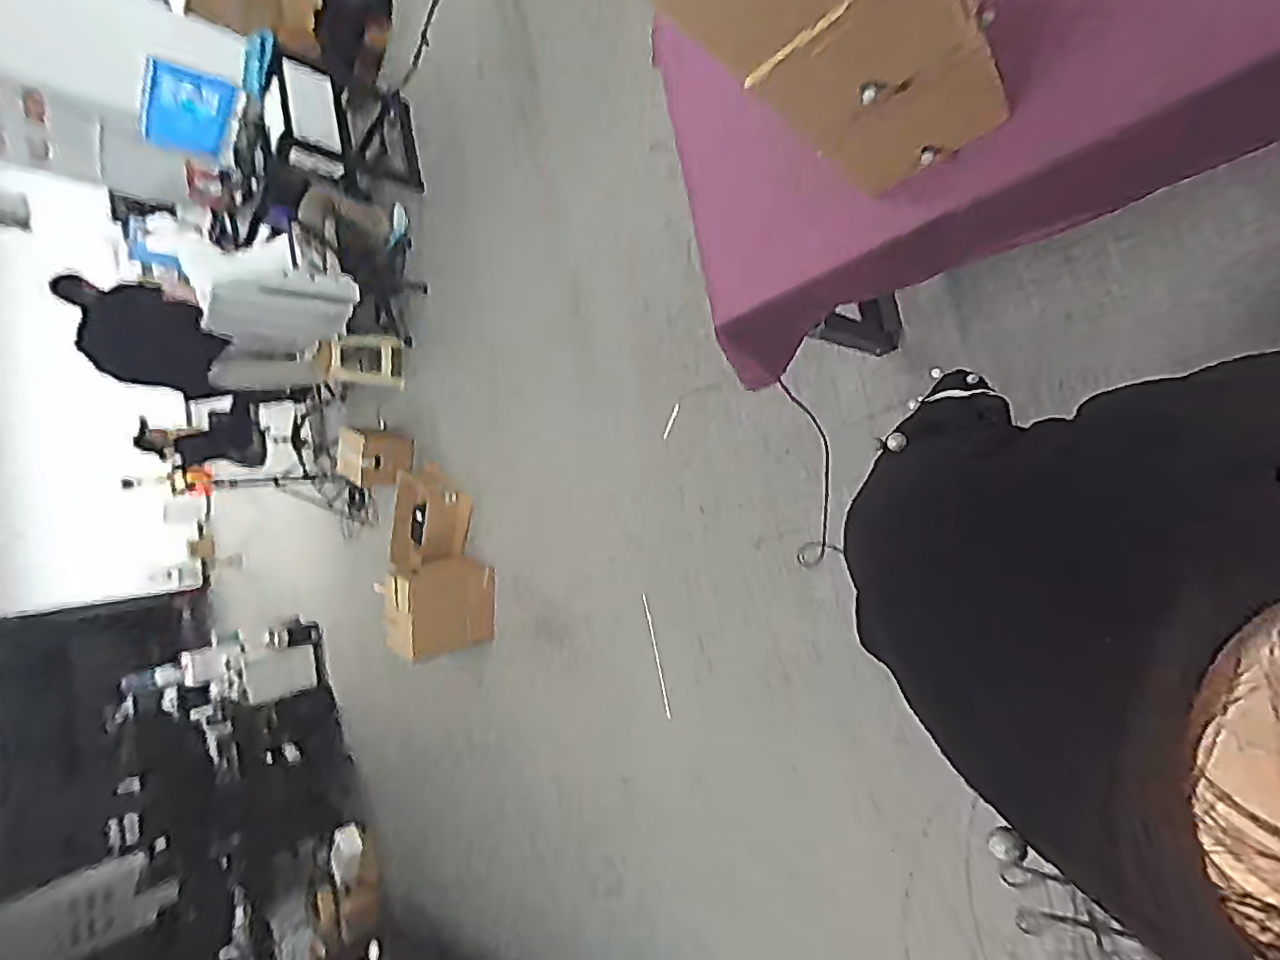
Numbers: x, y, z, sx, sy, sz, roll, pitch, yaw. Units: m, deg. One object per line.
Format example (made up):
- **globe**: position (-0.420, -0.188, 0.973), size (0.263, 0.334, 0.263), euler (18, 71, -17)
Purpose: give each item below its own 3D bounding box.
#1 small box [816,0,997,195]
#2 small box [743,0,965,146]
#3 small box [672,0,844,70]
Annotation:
- **small box**: position (0.320, -0.497, 0.671), size (0.179, 0.176, 0.168), euler (-17, 81, 42)
- **small box**: position (0.206, -0.493, 0.551), size (0.168, 0.176, 0.179), euler (-15, 83, 43)
- **small box**: position (0.097, -0.486, 0.428), size (0.179, 0.176, 0.168), euler (-13, 84, 42)
